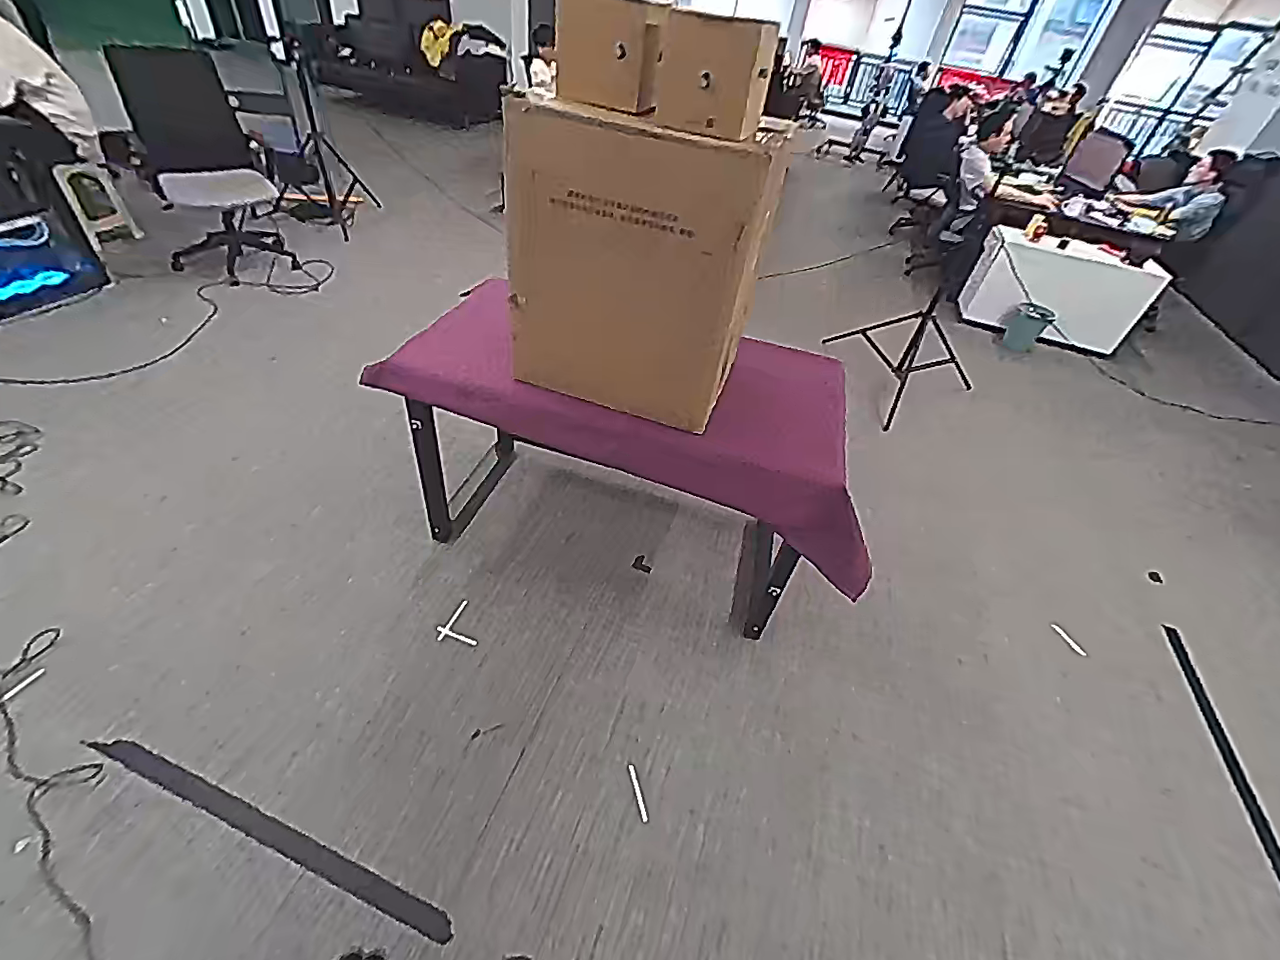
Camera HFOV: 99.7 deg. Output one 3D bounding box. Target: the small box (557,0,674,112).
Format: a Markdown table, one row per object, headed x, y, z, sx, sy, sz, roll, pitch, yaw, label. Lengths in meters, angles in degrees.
| x | y | z | sx | sy | sz | roll | pitch | yaw | label |
| --- | --- | --- | --- | --- | --- | --- | --- | --- | --- |
| -0.050 | -0.833 | 1.054 | 0.179 | 0.176 | 0.168 | 17 | 42 | 9 | small box |

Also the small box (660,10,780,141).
| x | y | z | sx | sy | sz | roll | pitch | yaw | label |
| --- | --- | --- | --- | --- | --- | --- | --- | --- | --- |
| 0.141 | -0.733 | 0.983 | 0.168 | 0.176 | 0.179 | 18 | 43 | 11 | small box |
